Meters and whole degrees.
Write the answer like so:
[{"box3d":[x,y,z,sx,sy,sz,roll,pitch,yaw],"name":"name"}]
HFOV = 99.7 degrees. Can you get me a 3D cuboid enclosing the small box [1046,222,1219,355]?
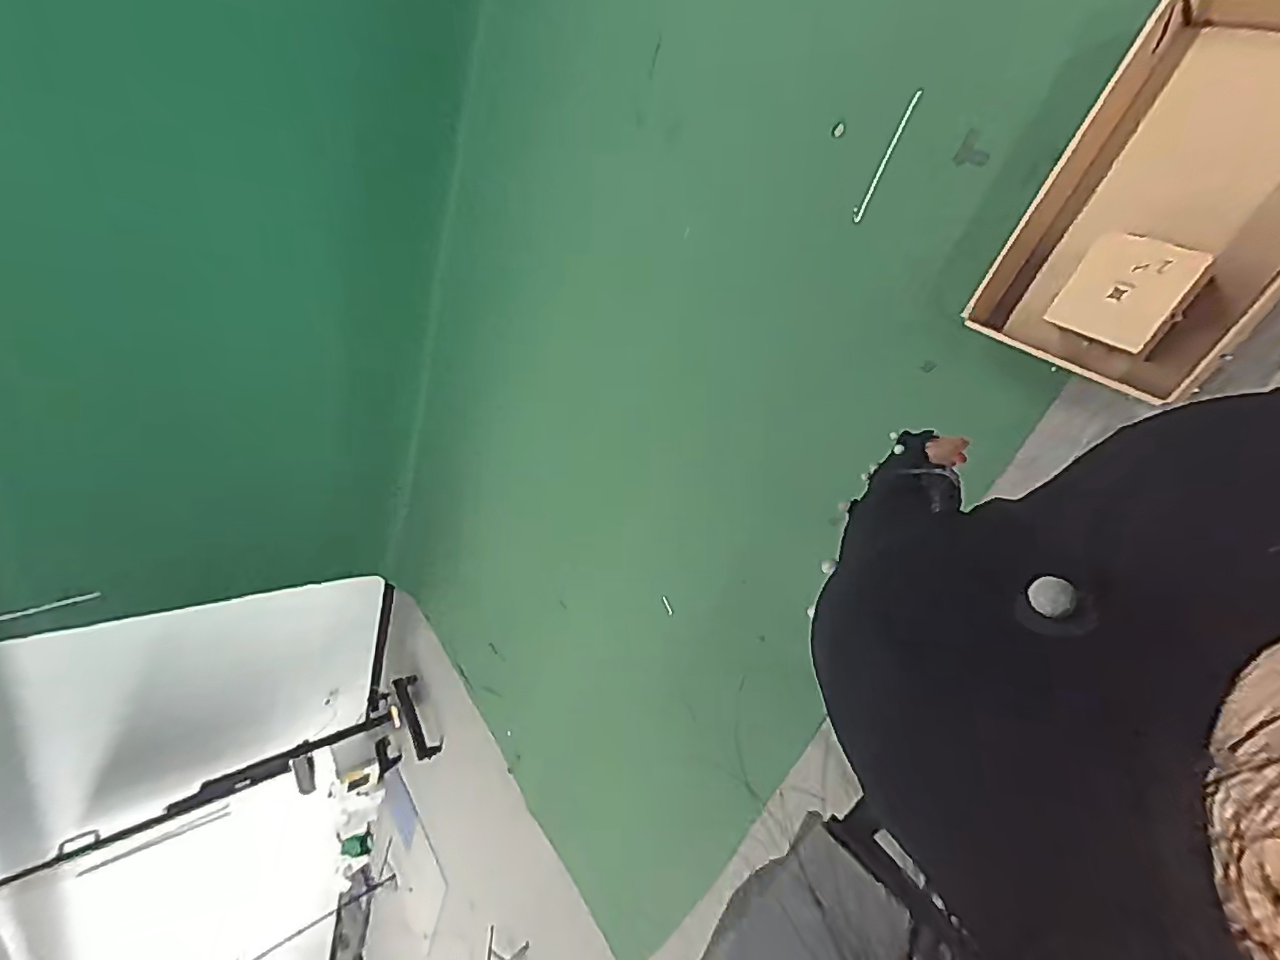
[{"box3d":[0.911,-0.347,1.006,0.168,0.176,0.179,41,121,34],"name":"small box"}]
